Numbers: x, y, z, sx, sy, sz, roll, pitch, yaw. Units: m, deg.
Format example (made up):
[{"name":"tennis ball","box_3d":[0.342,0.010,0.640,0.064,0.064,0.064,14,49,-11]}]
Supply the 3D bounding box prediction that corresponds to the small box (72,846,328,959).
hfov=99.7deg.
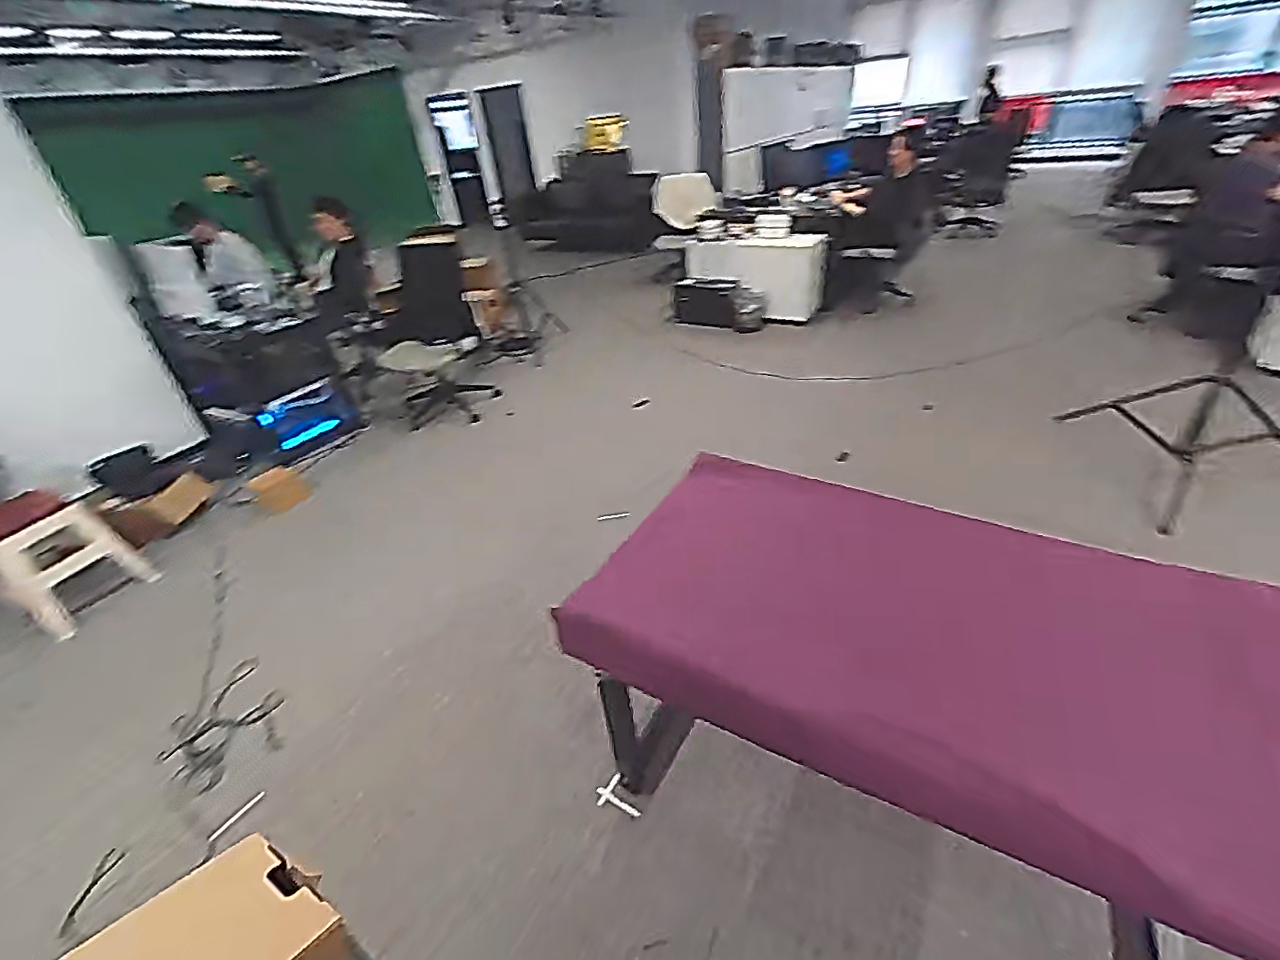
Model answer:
[{"name":"small box","box_3d":[-0.404,0.502,0.492,0.168,0.176,0.179,11,16,28]}]
